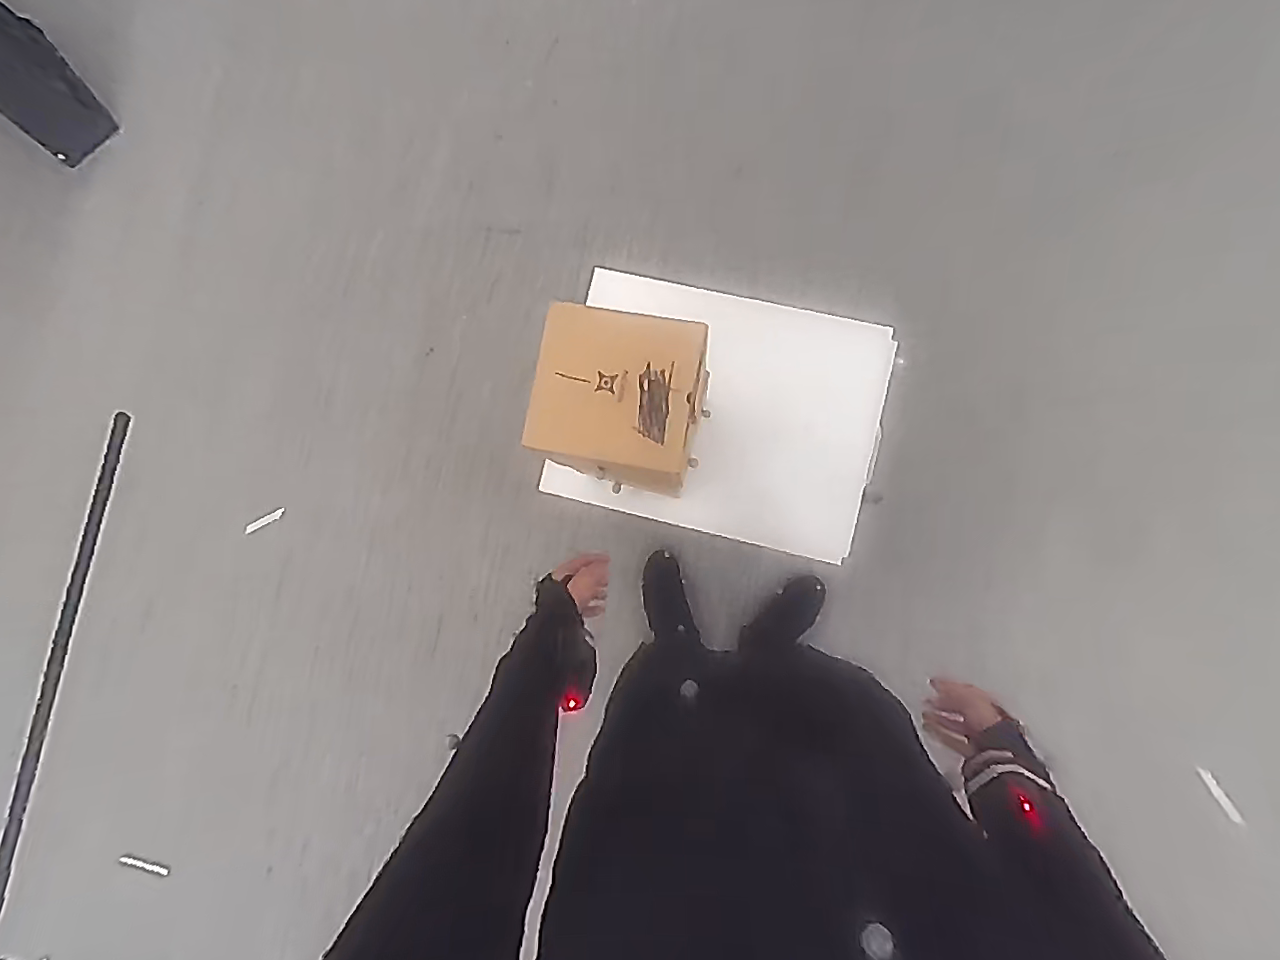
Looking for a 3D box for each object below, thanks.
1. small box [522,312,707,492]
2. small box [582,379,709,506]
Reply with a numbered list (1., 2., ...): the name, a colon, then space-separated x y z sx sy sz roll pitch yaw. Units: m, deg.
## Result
1. small box: -0.020 -0.081 0.652 0.179 0.176 0.168 10 85 7
2. small box: 0.000 -0.065 0.814 0.168 0.176 0.179 14 86 6
